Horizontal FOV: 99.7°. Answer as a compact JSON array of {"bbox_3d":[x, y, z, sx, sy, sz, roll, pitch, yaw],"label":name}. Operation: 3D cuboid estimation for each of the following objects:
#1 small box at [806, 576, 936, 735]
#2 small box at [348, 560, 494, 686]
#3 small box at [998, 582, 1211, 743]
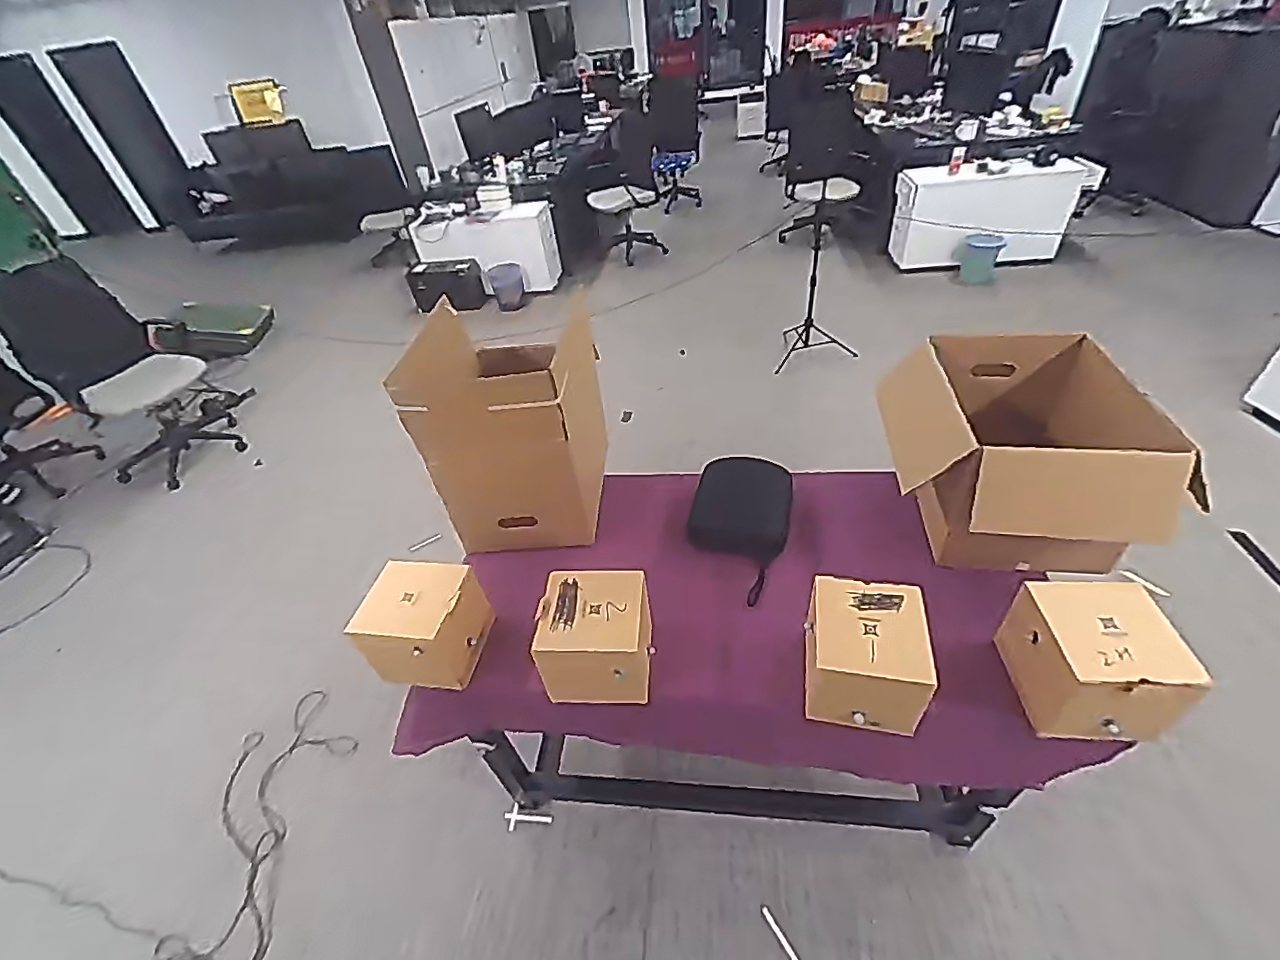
[{"bbox_3d":[0.366,0.287,0.891,0.168,0.176,0.179,4,43,14],"label":"small box"},{"bbox_3d":[-0.405,0.273,1.033,0.179,0.176,0.168,2,41,10],"label":"small box"},{"bbox_3d":[0.695,0.280,0.841,0.168,0.176,0.179,-1,41,10],"label":"small box"}]
